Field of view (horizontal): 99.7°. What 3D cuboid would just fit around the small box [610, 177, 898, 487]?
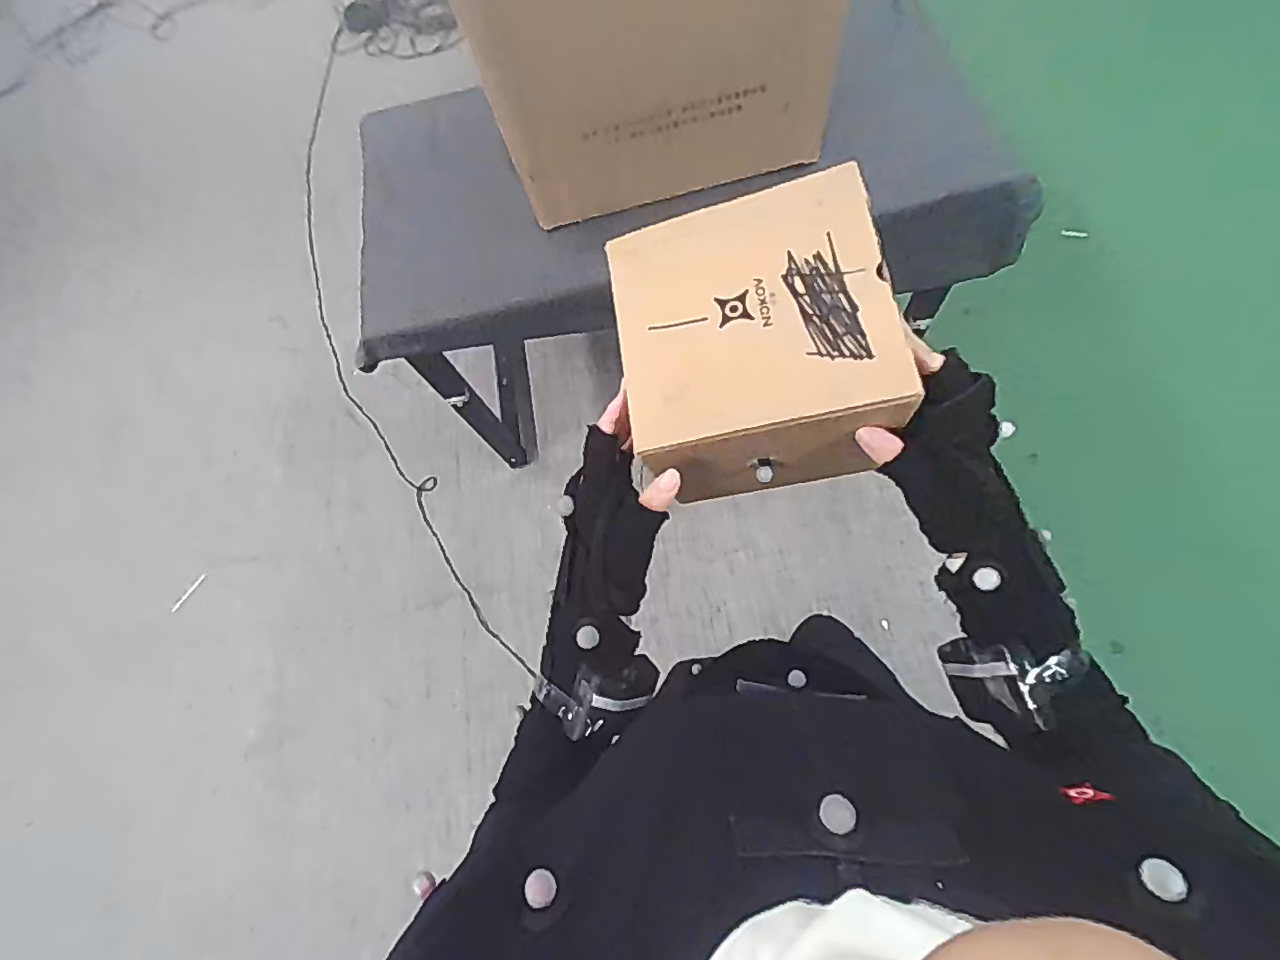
[{"bbox_3d":[0.087,-0.101,0.445,0.179,0.176,0.168,-10,73,12],"label":"small box"}]
